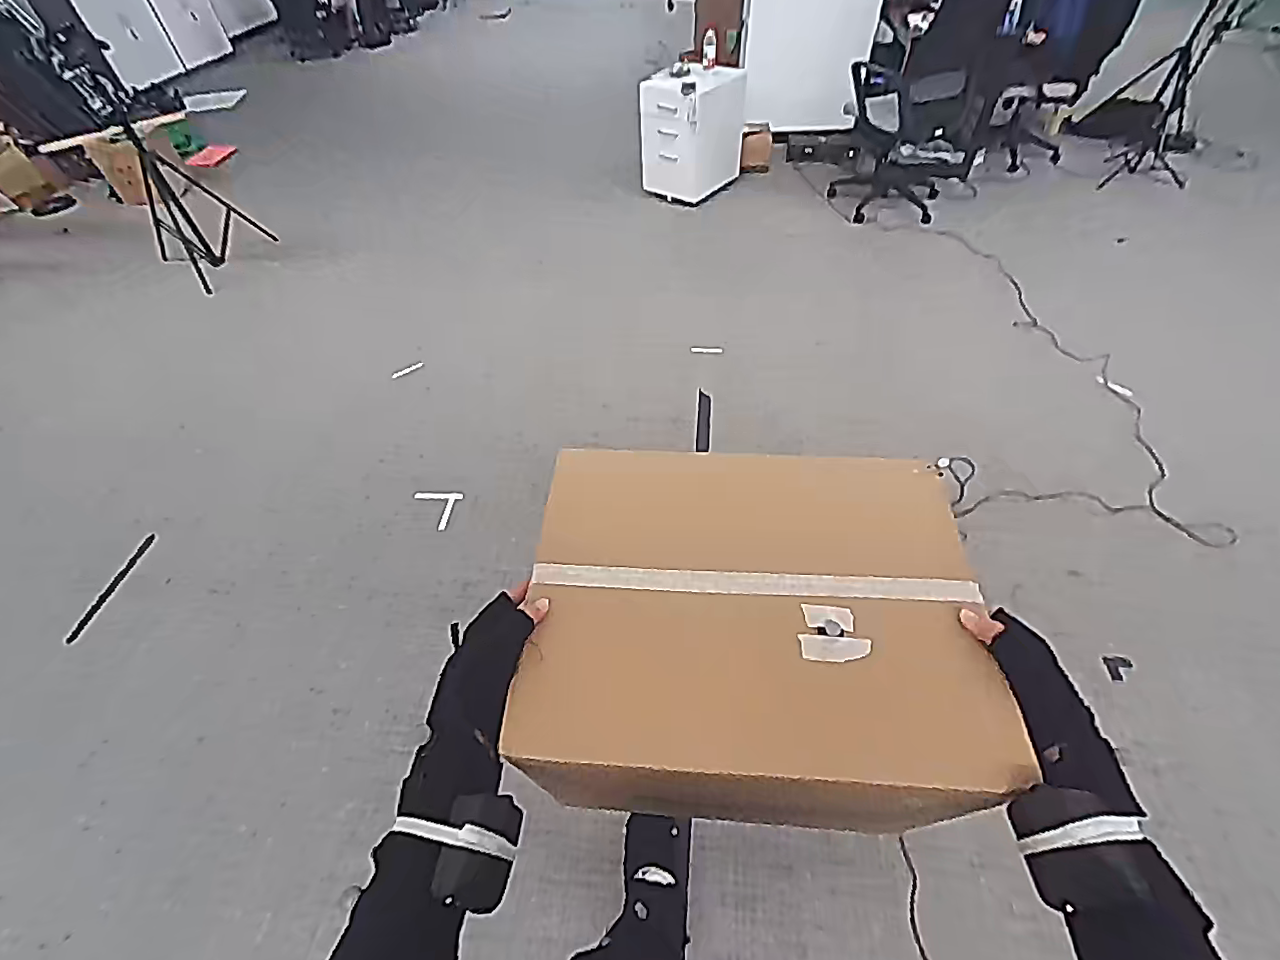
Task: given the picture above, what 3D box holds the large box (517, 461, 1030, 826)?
[{"bbox_3d":[0.110,0.194,0.624,0.408,0.320,0.320,2,54,4],"label":"large box"}]
